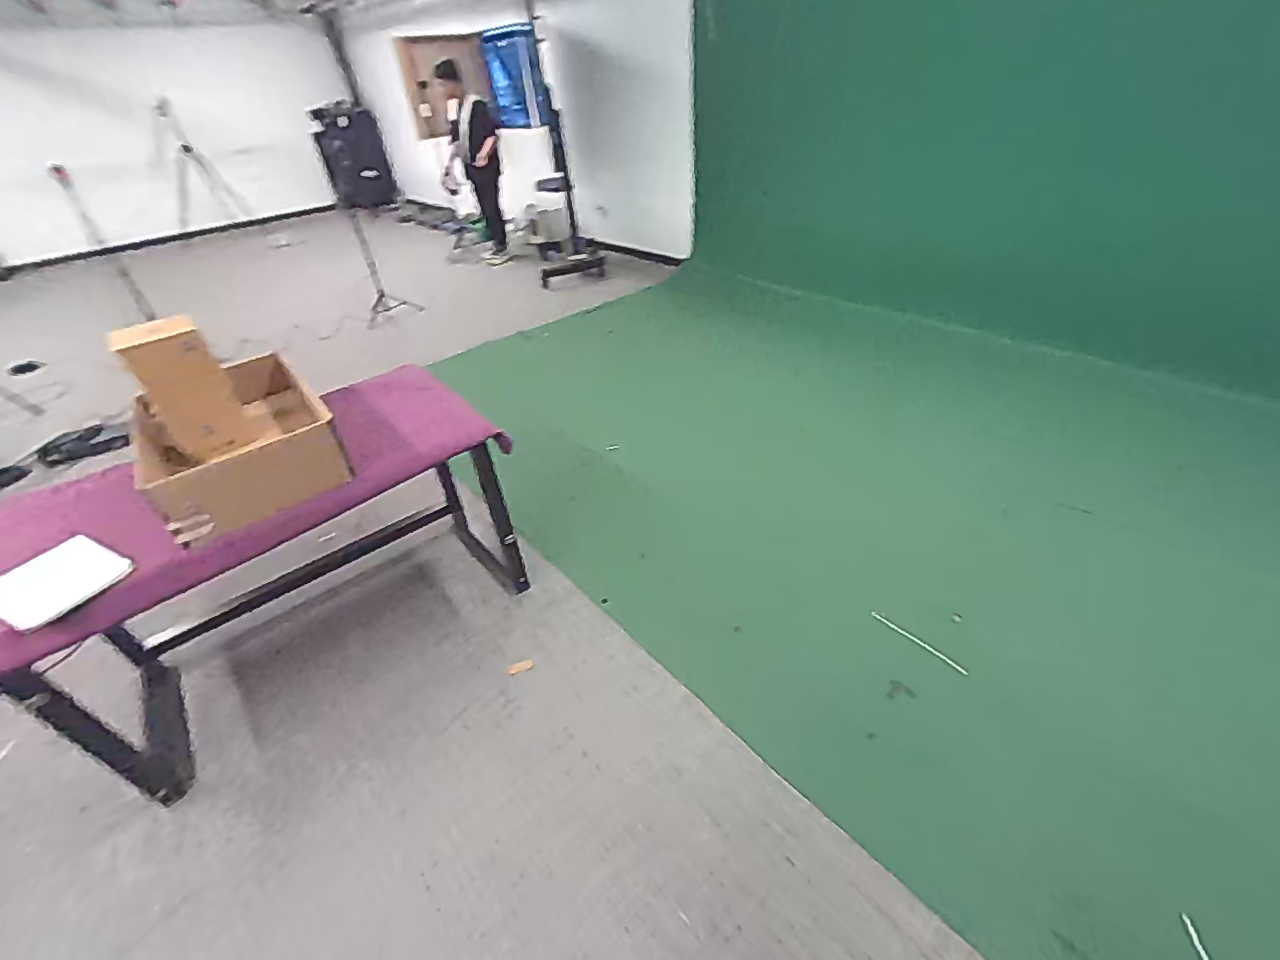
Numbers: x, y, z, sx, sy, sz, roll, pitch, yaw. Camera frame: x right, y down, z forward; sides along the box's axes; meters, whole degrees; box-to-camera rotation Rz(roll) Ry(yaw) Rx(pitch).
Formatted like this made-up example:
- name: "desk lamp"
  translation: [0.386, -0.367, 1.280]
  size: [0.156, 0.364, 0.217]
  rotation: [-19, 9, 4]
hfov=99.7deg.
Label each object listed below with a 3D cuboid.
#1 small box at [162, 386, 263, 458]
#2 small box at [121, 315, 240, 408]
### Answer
- name: "small box"
  translation: [-1.195, -0.182, 1.514]
  size: [0.168, 0.176, 0.179]
  rotation: [-29, 44, -28]
- name: "small box"
  translation: [-1.199, -0.310, 1.415]
  size: [0.179, 0.176, 0.168]
  rotation: [-31, 45, -30]
